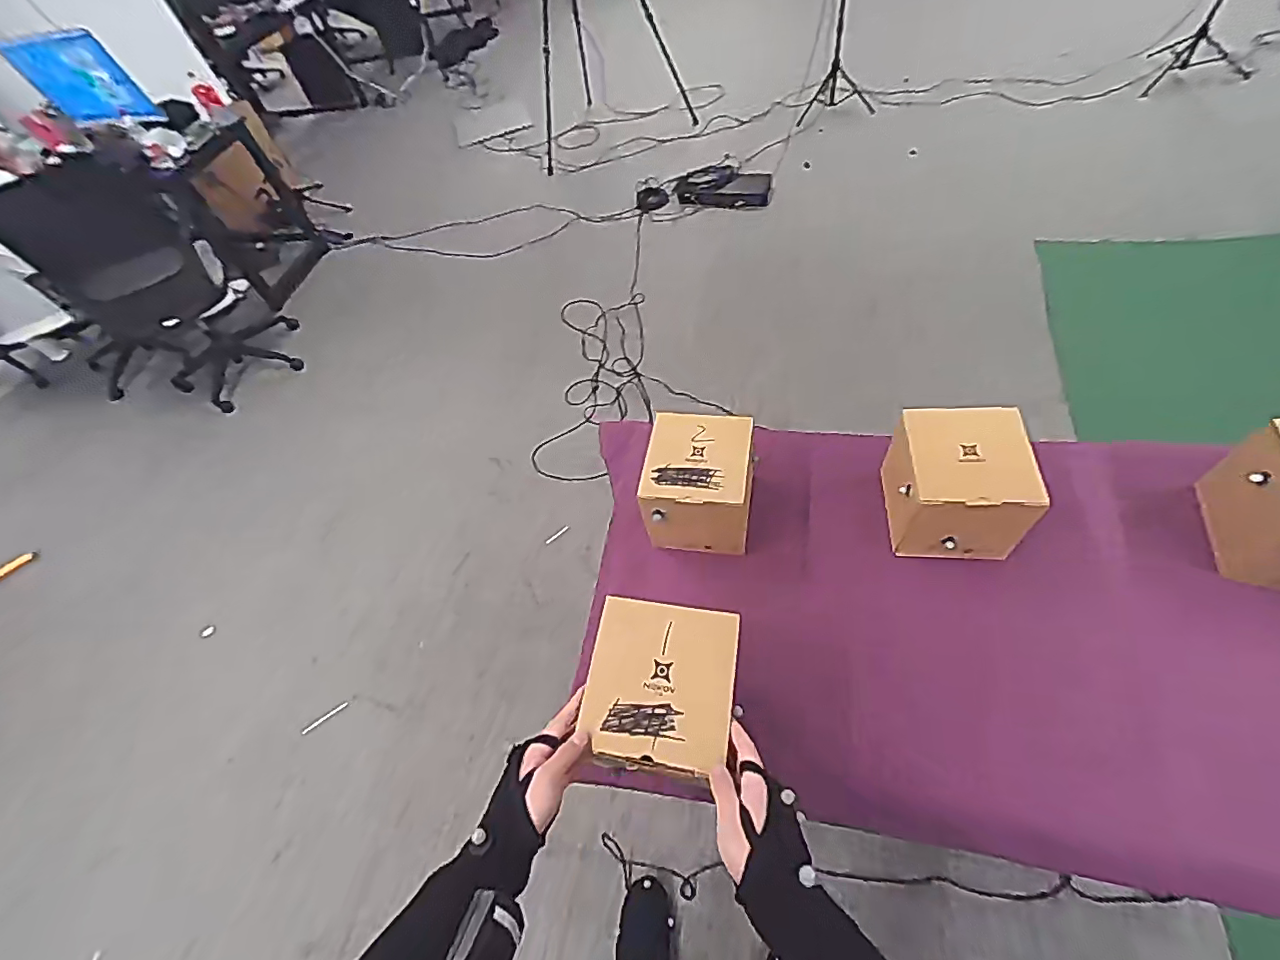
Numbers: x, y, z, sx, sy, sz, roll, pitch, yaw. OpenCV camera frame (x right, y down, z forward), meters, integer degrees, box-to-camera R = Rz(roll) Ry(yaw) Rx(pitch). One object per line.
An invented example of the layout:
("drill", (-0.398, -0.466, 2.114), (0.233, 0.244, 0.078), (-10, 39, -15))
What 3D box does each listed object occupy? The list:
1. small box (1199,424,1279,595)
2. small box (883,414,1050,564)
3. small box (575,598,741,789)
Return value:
("small box", (0.932, 0.050, 0.742), (0.168, 0.176, 0.179), (9, 58, 18))
("small box", (0.496, 0.014, 0.855), (0.168, 0.176, 0.179), (1, 56, 11))
("small box", (0.034, 0.269, 0.672), (0.168, 0.176, 0.179), (6, 57, 11))
